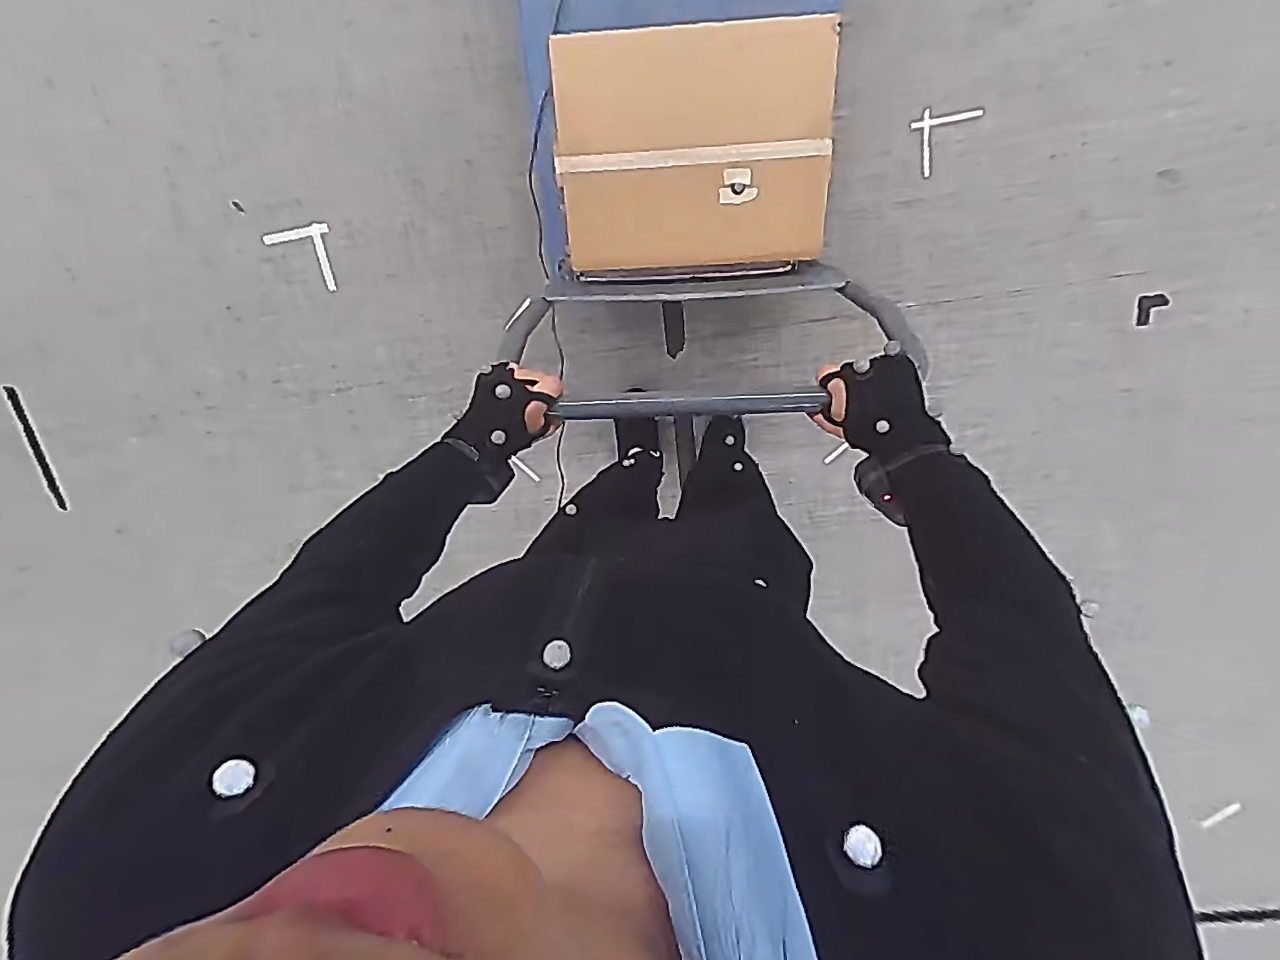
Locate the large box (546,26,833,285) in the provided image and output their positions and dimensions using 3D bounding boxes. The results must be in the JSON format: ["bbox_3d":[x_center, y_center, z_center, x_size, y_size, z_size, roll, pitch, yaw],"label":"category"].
[{"bbox_3d":[0.077,-0.535,0.944,0.408,0.320,0.320,-3,117,3],"label":"large box"}]
